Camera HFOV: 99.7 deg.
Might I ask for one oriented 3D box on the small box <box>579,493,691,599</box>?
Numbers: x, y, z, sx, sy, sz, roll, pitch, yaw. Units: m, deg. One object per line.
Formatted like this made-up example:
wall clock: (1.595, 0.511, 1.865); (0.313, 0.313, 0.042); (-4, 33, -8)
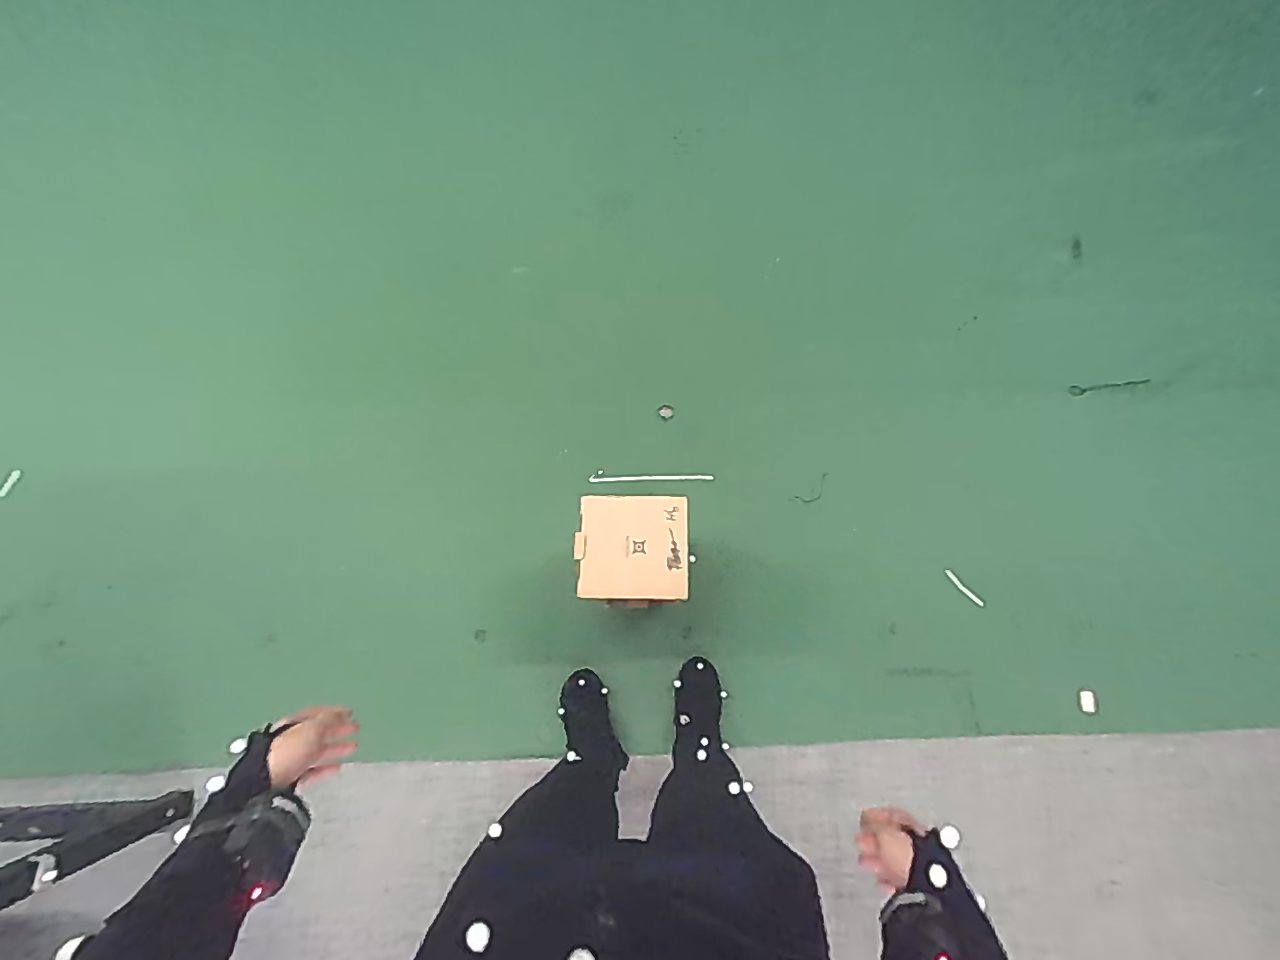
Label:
small box: (-0.005, 0.120, 0.935); (0.179, 0.176, 0.168); (1, 78, 0)
